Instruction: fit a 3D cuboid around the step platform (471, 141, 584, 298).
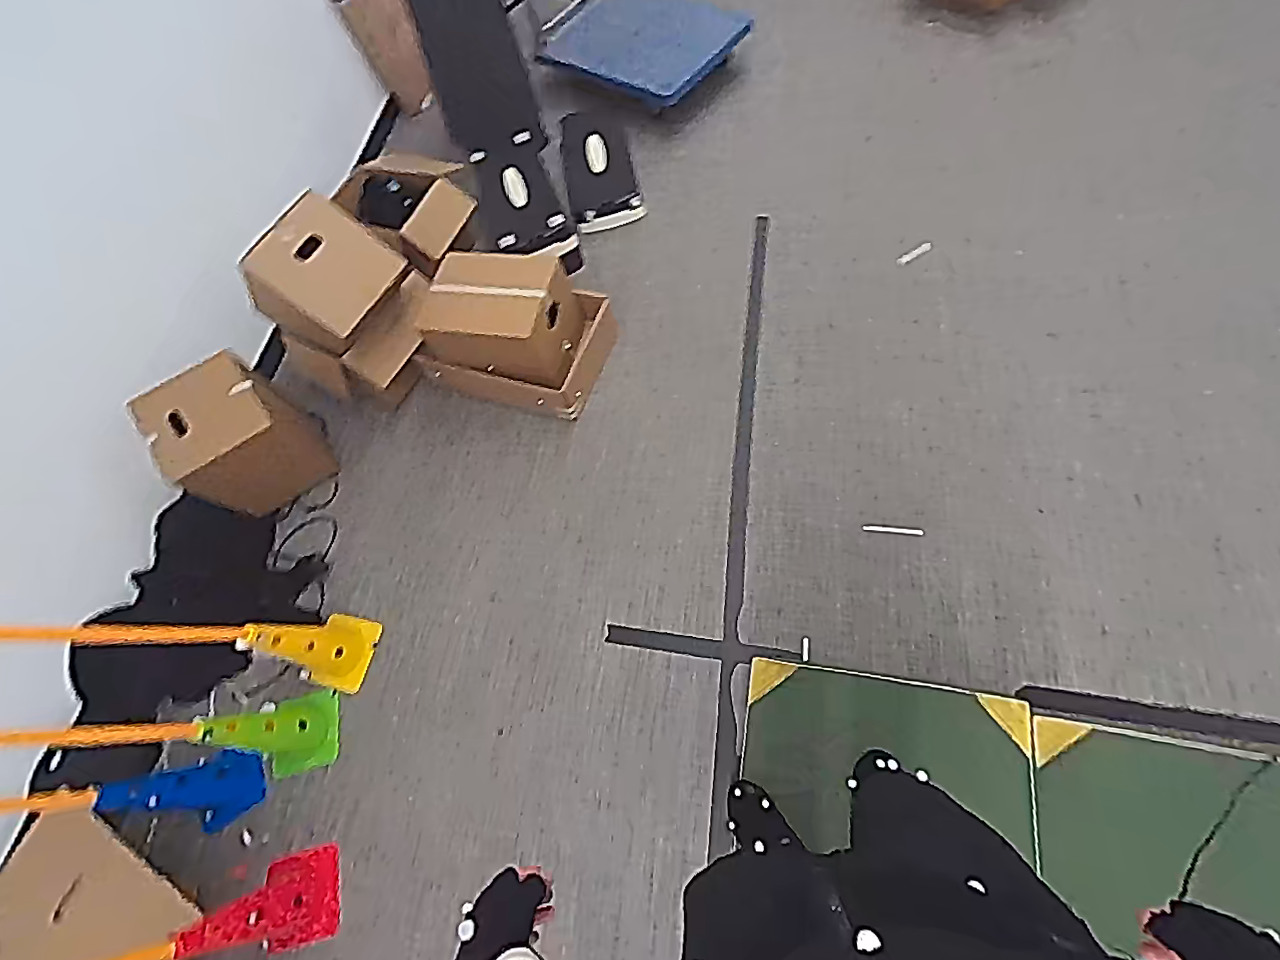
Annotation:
[{"bbox_3d":[-0.463,-1.067,2.180,0.286,0.204,0.684,-23,64,1],"label":"step platform"}]
